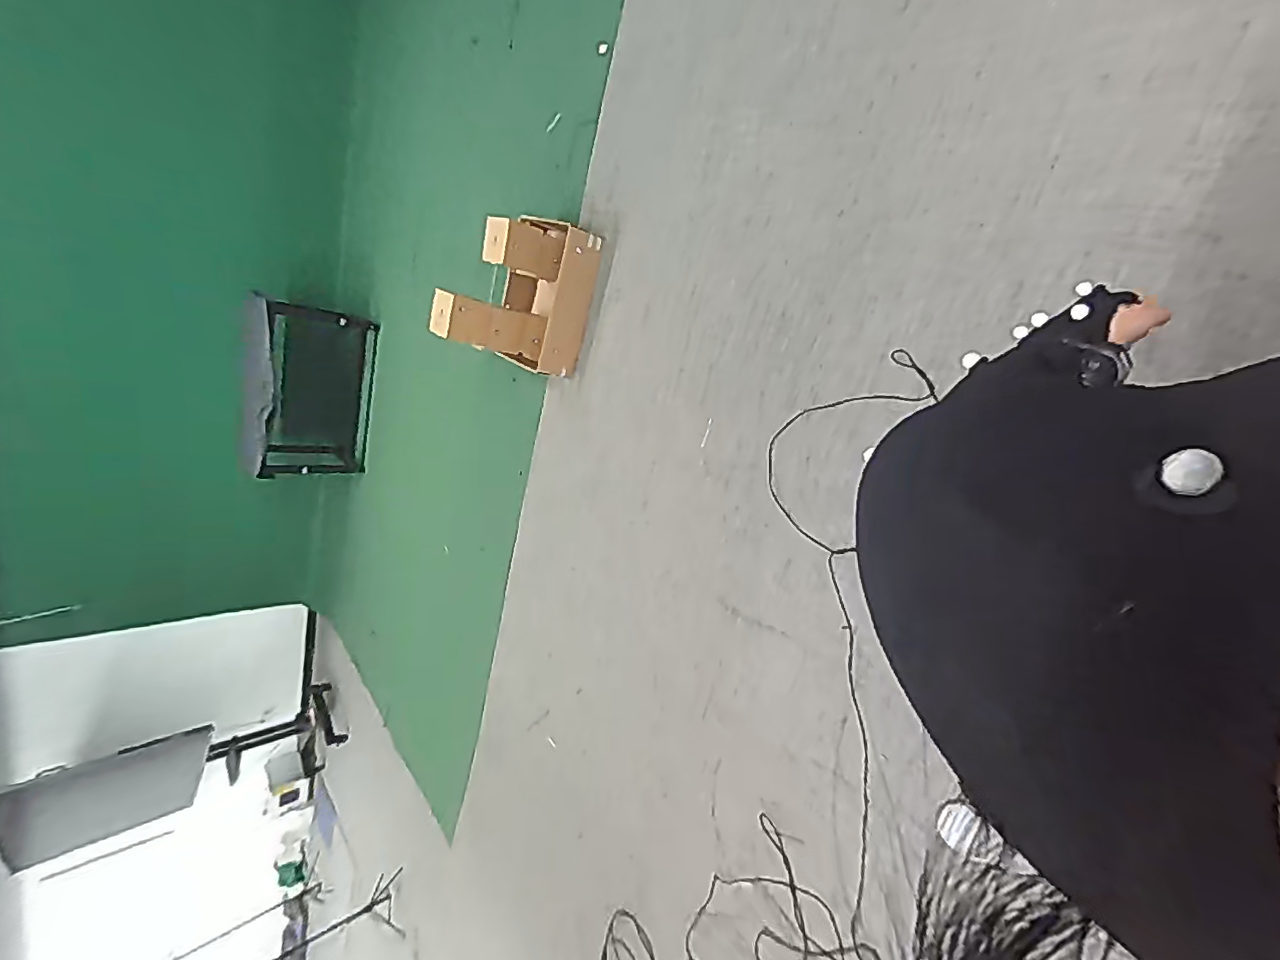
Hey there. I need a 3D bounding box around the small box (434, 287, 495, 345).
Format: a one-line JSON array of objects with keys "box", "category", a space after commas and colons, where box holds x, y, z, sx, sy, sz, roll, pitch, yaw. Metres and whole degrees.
[{"box": [-0.713, -0.668, 2.208, 0.168, 0.176, 0.179, 30, 112, 40], "category": "small box"}]

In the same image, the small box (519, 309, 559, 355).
[{"box": [-0.492, -0.674, 2.452, 0.179, 0.176, 0.168, 29, 111, 39], "category": "small box"}]

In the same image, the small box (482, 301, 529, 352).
[{"box": [-0.602, -0.662, 2.330, 0.168, 0.176, 0.179, 30, 111, 39], "category": "small box"}]

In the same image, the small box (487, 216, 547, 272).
[{"box": [-0.505, -0.967, 2.223, 0.168, 0.176, 0.179, 28, 112, 38], "category": "small box"}]
